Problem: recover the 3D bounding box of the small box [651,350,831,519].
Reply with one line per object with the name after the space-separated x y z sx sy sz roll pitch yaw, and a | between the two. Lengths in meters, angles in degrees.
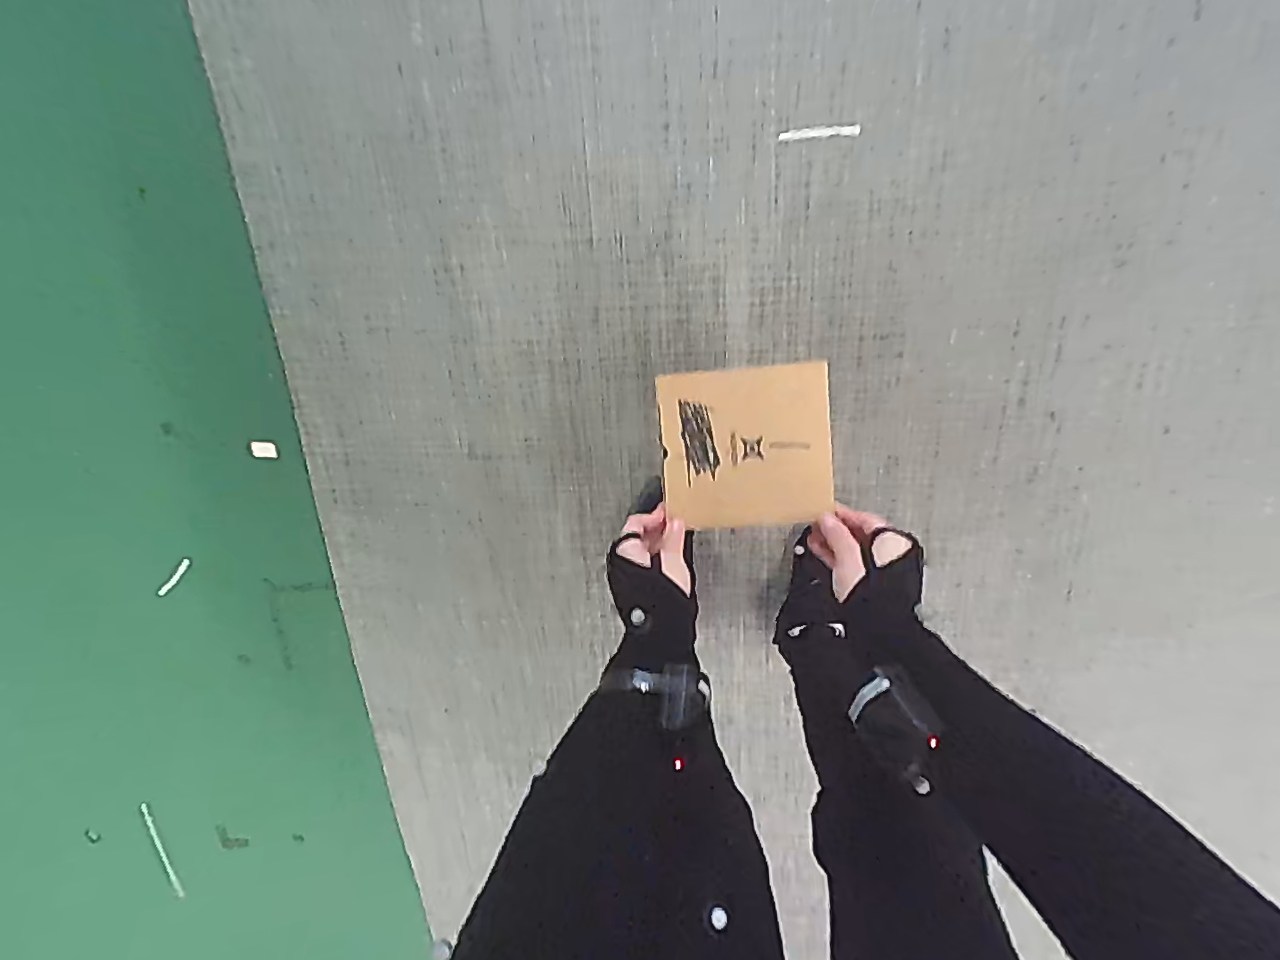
0.115 -0.048 0.635 0.179 0.176 0.168 -5 93 9 | small box
